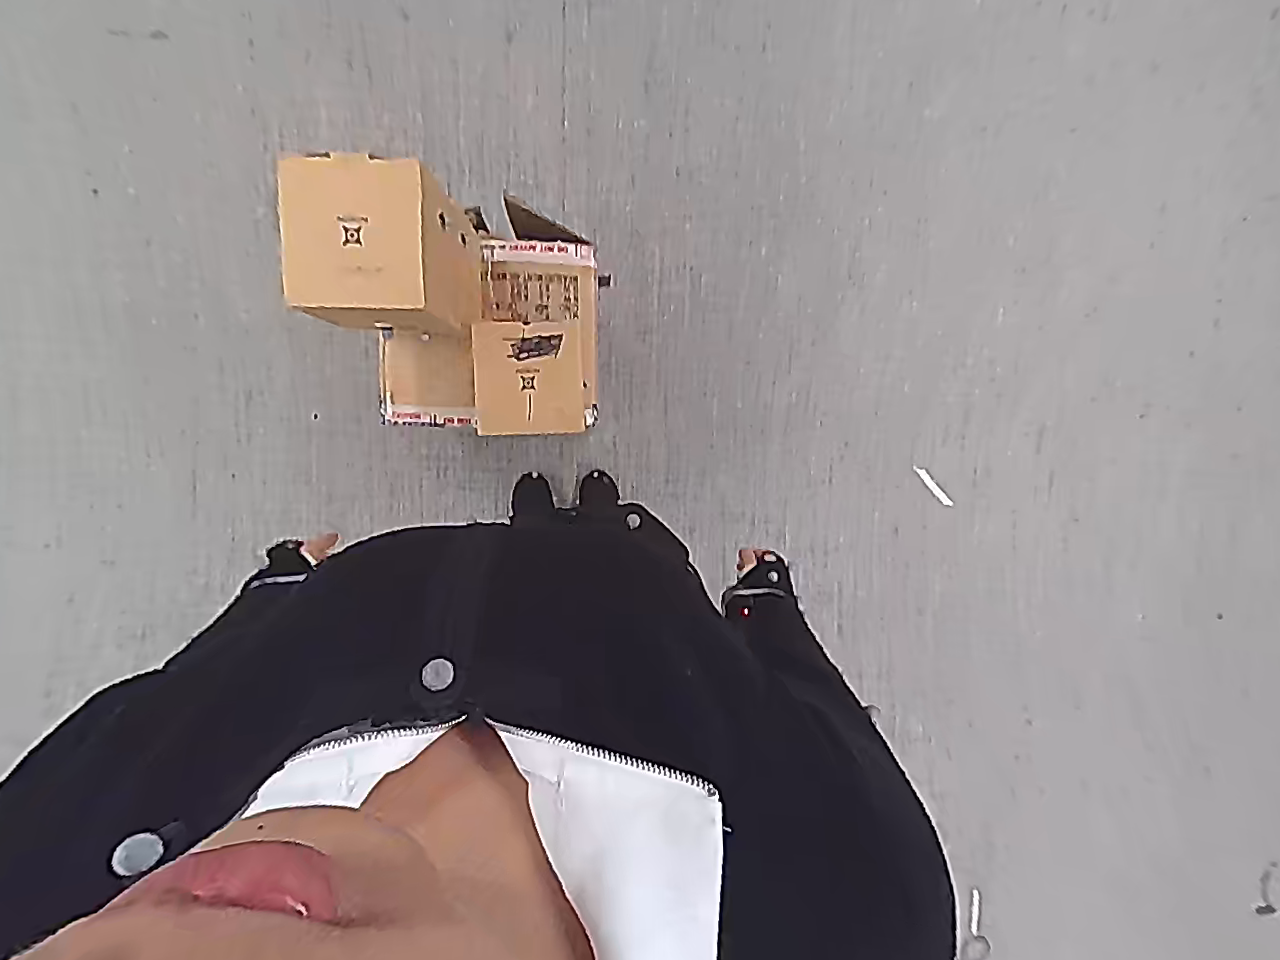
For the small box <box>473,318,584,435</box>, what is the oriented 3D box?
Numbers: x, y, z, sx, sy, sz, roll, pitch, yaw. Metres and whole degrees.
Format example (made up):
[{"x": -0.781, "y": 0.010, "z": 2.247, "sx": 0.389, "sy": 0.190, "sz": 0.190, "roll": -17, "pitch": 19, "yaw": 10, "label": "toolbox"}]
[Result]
[{"x": -0.179, "y": -0.166, "z": 0.908, "sx": 0.168, "sy": 0.176, "sz": 0.179, "roll": -2, "pitch": 96, "yaw": -5, "label": "small box"}]

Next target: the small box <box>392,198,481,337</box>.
[{"x": -0.360, "y": -0.337, "z": 0.877, "sx": 0.168, "sy": 0.176, "sz": 0.179, "roll": 0, "pitch": 96, "yaw": -4, "label": "small box"}]

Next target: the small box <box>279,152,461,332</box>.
[{"x": -0.343, "y": -0.301, "z": 0.718, "sx": 0.168, "sy": 0.176, "sz": 0.179, "roll": 0, "pitch": 96, "yaw": -3, "label": "small box"}]
